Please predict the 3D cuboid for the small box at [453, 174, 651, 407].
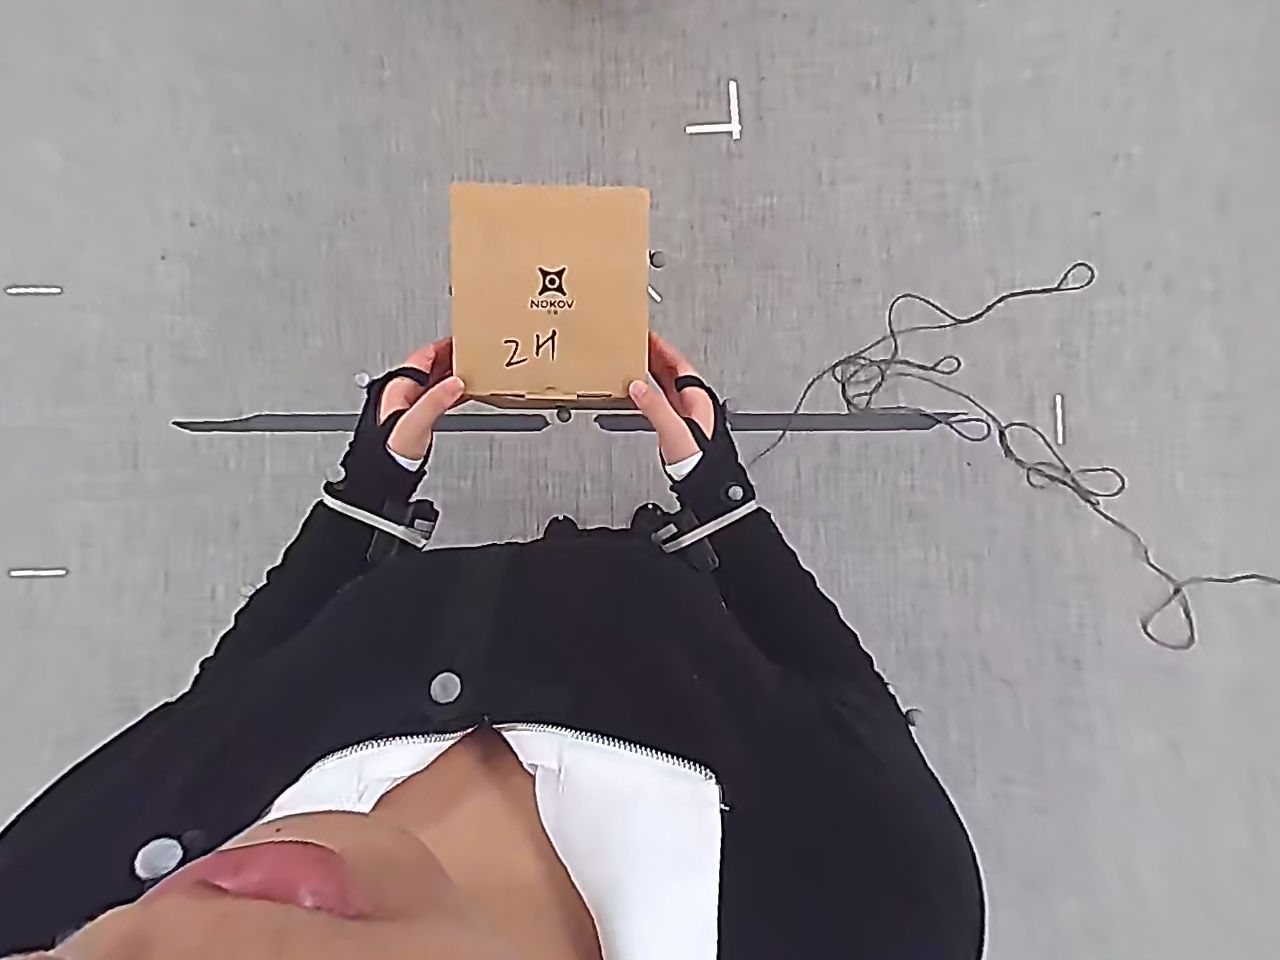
[{"bbox_3d":[-0.077,-0.169,0.534,0.168,0.176,0.179,1,93,-1],"label":"small box"}]
